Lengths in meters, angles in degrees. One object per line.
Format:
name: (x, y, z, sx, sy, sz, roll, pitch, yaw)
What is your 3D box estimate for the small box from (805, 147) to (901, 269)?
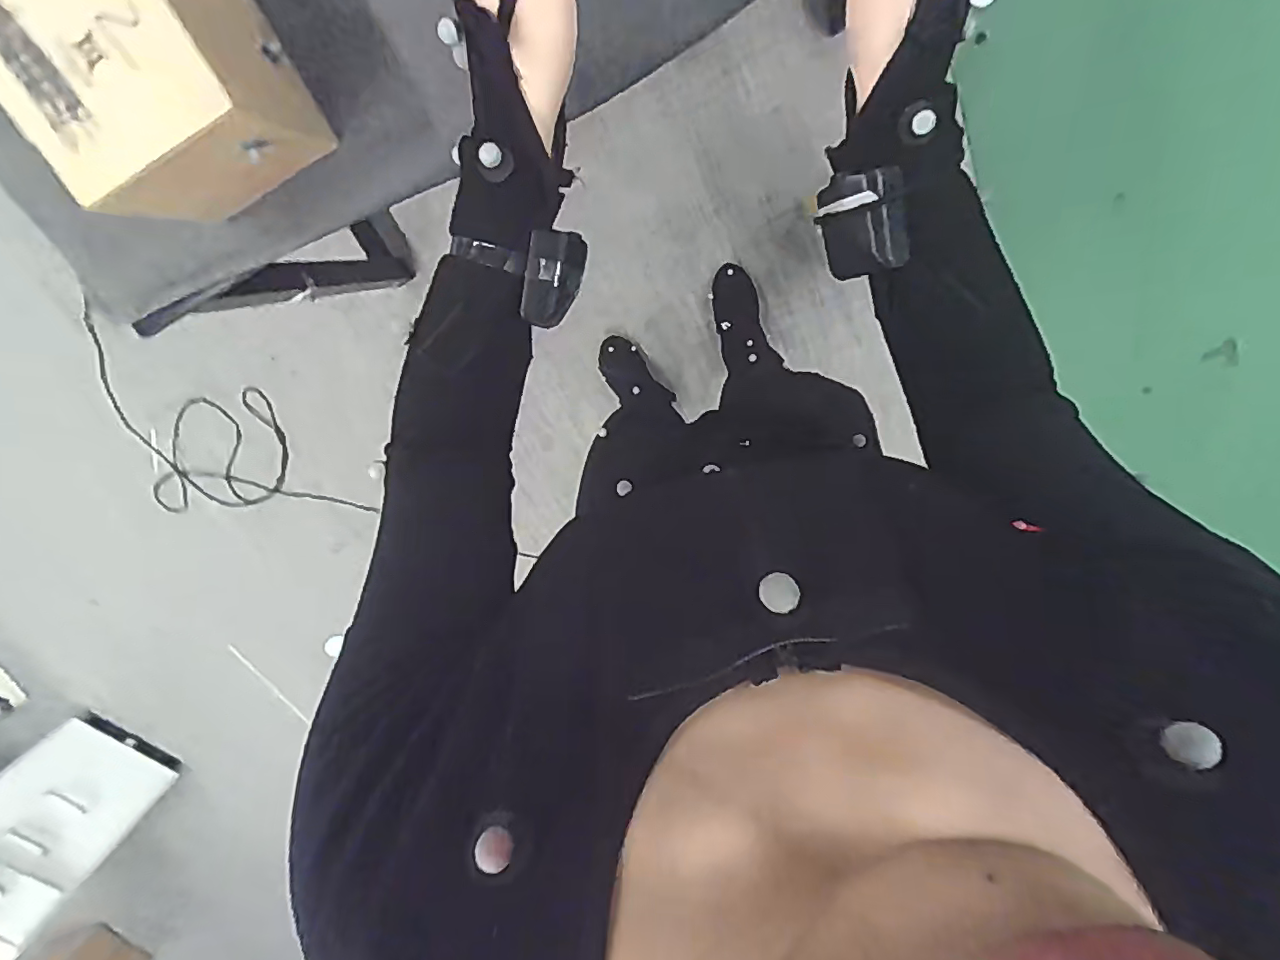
small box: (0.482, -0.584, 1.179, 0.168, 0.176, 0.179, -26, 108, 12)

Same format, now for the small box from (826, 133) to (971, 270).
small box: (0.482, -0.520, 1.027, 0.179, 0.176, 0.168, -24, 111, 11)
